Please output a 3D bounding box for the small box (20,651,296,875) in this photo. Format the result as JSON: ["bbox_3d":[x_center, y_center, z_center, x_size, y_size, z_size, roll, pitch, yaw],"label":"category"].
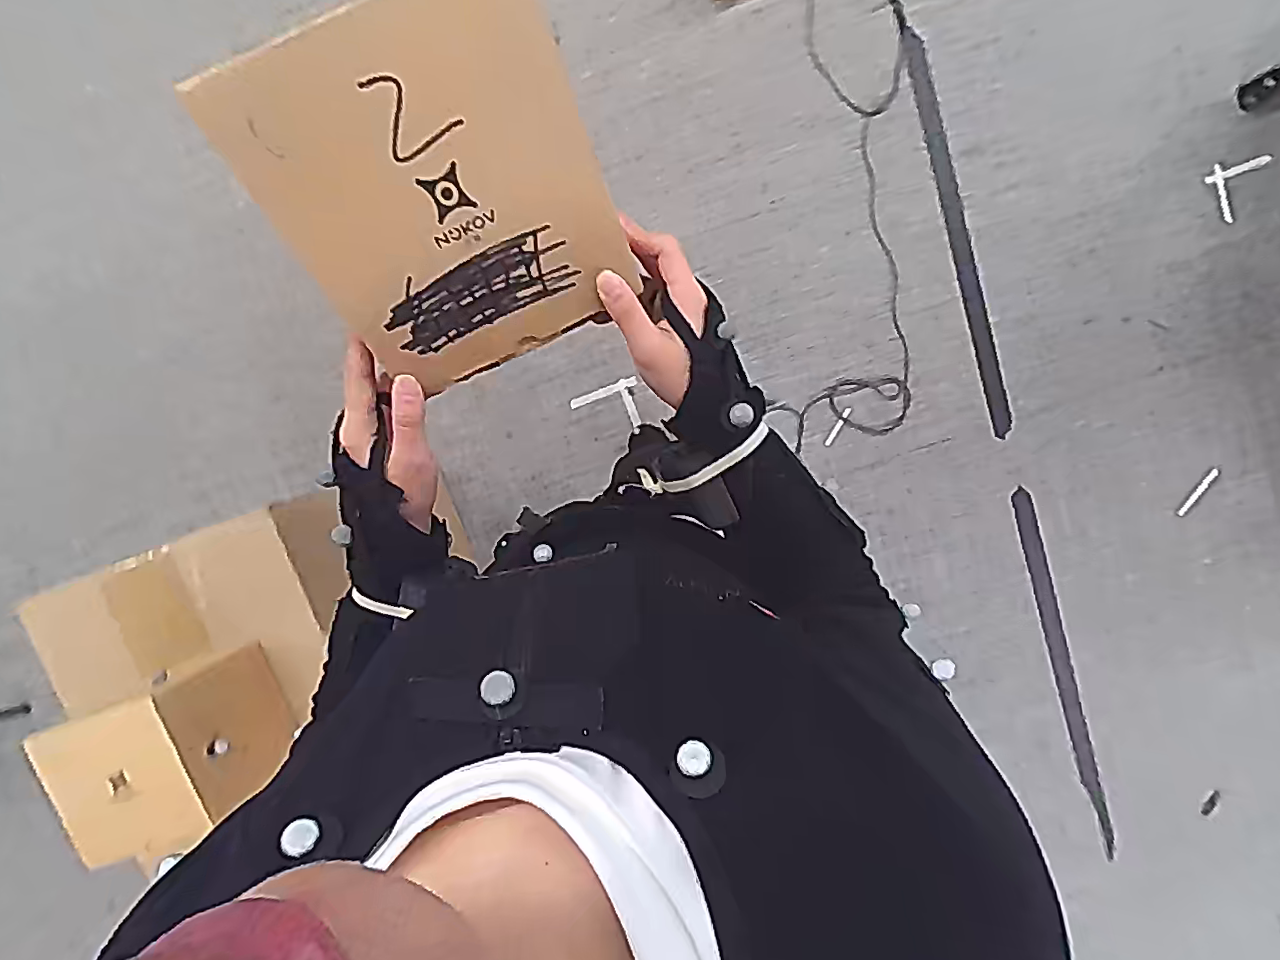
[{"bbox_3d":[-0.593,0.341,0.693,0.168,0.176,0.179,-20,96,2],"label":"small box"}]
